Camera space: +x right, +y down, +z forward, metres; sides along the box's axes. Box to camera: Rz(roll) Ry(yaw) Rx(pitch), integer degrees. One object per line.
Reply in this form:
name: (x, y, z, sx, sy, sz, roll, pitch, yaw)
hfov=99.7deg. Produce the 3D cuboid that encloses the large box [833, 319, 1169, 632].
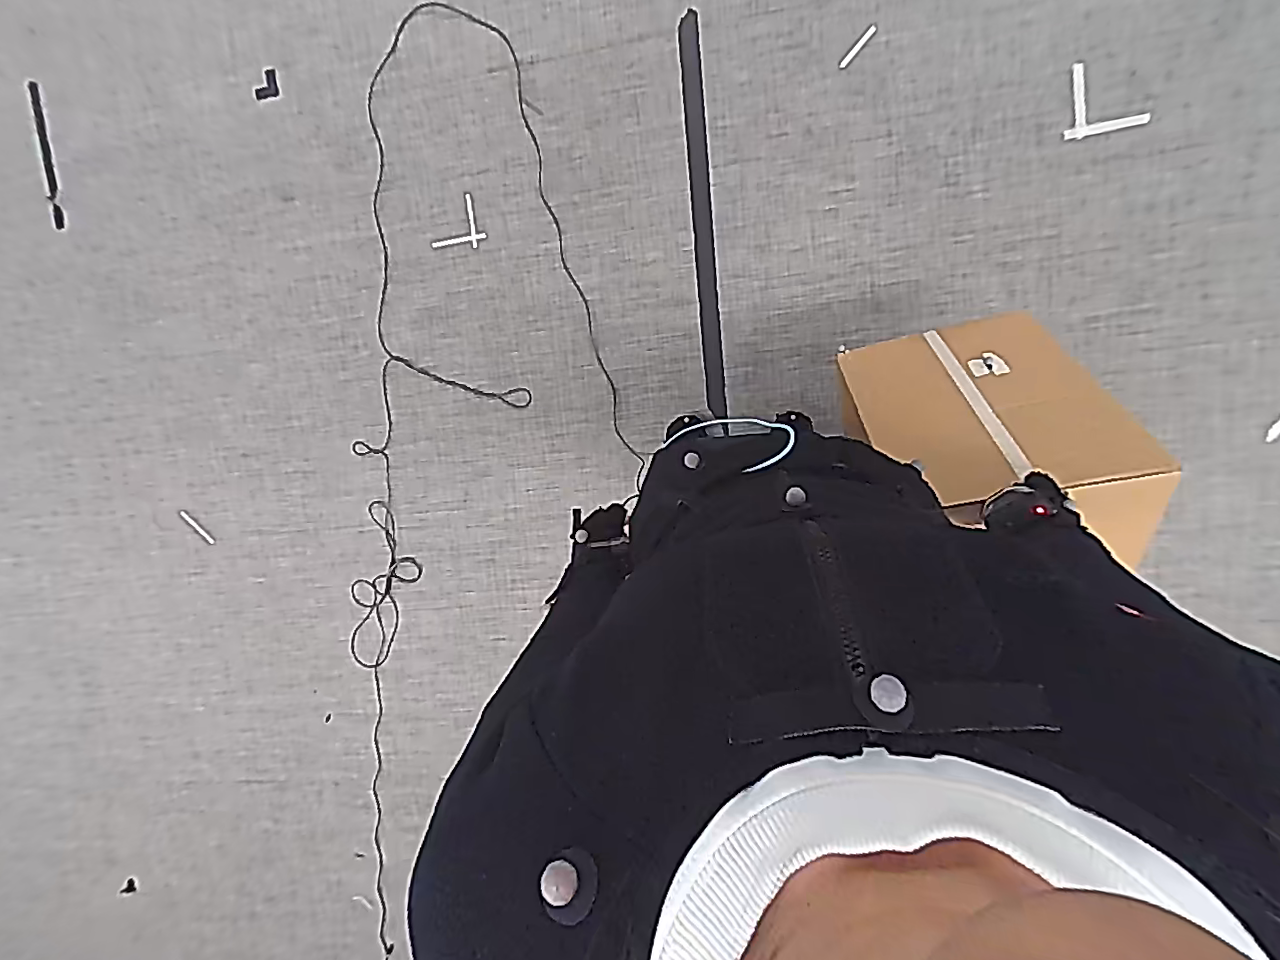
large box: (0.544, -0.011, 0.920, 0.320, 0.408, 0.320, -11, 131, 12)
